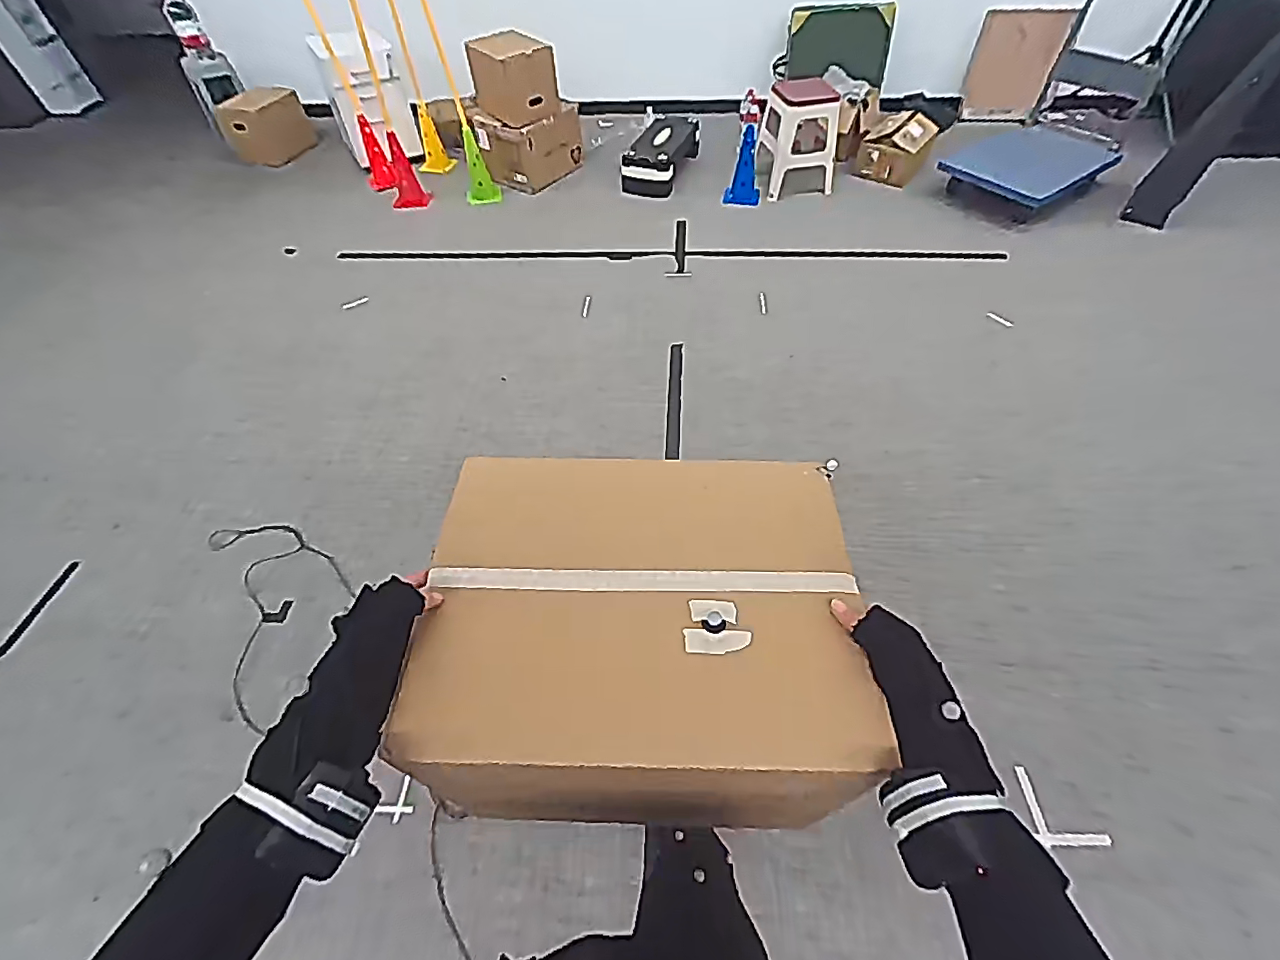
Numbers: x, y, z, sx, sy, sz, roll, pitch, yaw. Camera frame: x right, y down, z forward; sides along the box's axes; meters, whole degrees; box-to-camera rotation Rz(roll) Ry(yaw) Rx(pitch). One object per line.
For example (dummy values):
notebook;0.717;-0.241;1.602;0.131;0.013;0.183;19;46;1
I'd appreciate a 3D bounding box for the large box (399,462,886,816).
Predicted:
large box;0.002;0.194;0.641;0.408;0.320;0.320;1;51;1
